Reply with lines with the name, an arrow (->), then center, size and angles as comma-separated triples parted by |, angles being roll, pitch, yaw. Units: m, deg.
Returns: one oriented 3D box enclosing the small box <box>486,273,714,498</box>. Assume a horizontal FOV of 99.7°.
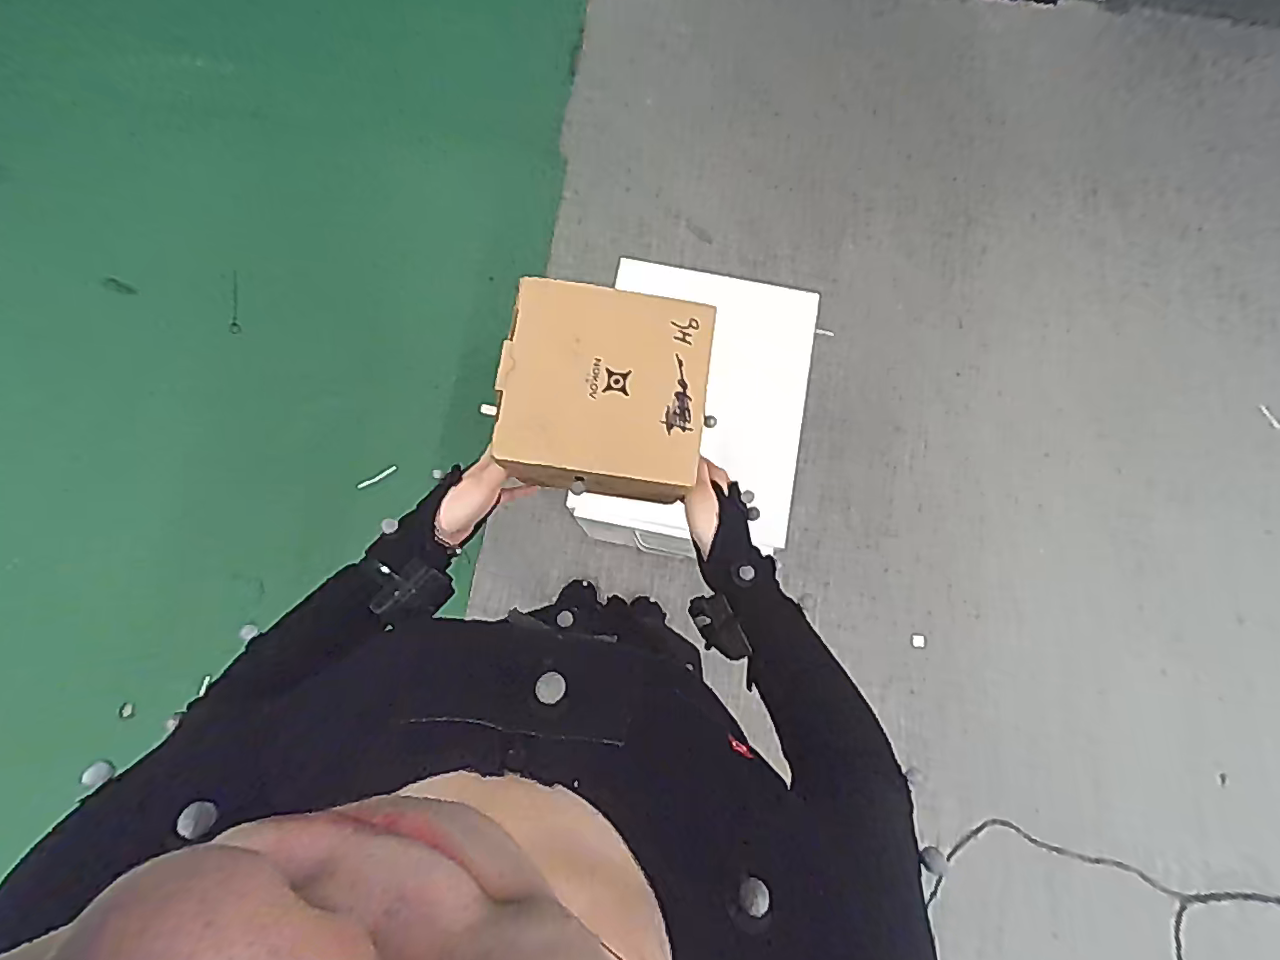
small box -> -0.035, -0.079, 0.540 | 0.179, 0.176, 0.168 | 9, 82, -1
